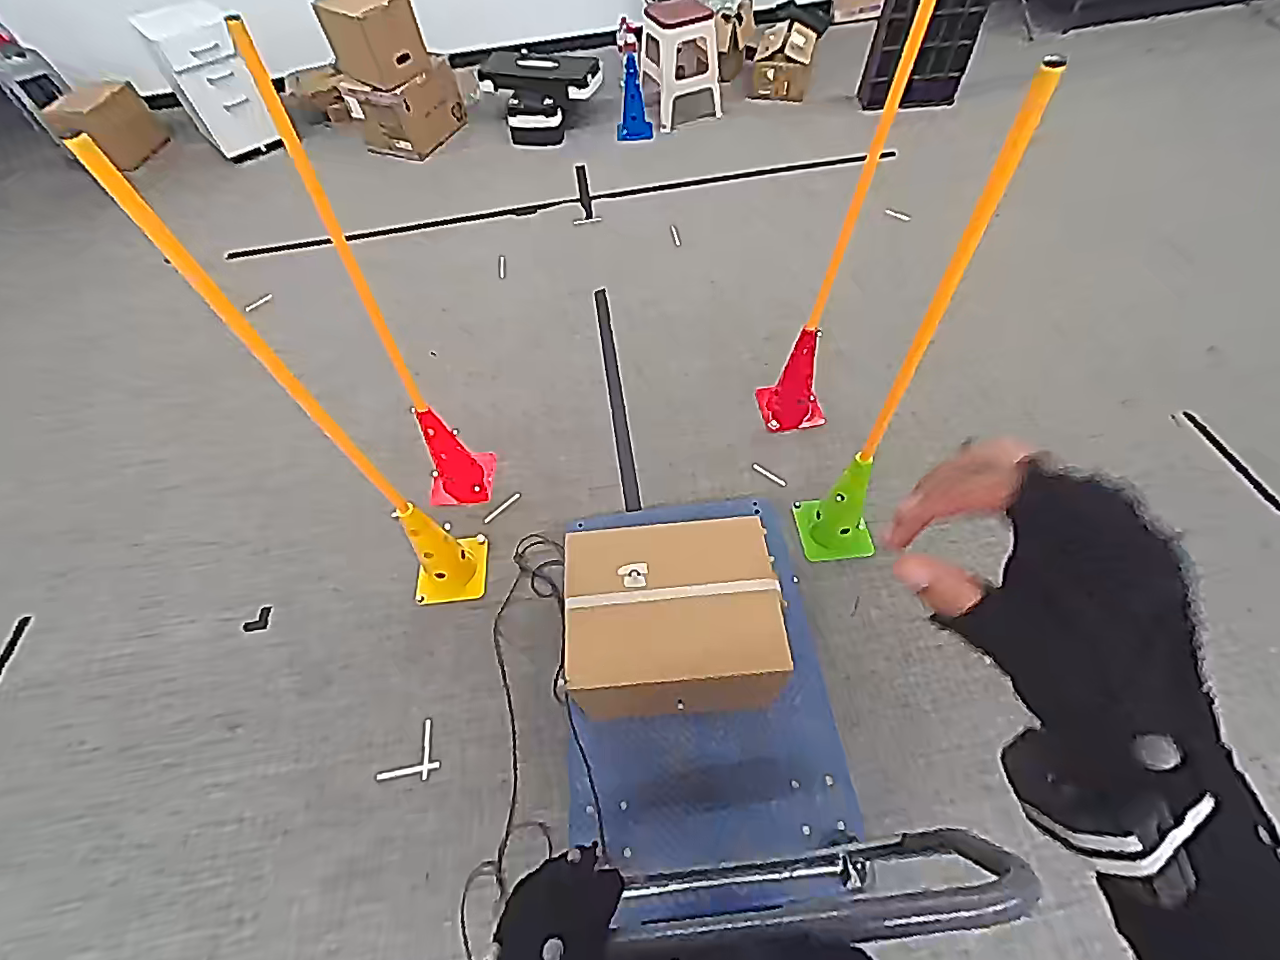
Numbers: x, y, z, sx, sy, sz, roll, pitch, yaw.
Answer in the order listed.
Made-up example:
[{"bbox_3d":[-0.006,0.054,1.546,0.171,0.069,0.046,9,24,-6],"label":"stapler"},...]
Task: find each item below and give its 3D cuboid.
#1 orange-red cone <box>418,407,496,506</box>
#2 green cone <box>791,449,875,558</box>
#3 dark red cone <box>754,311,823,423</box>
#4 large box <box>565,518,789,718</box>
[{"bbox_3d":[-0.596,-0.094,1.660,0.198,0.360,0.199,-3,55,2],"label":"orange-red cone"},{"bbox_3d":[0.559,0.042,1.469,0.202,0.368,0.200,-6,56,-1],"label":"green cone"},{"bbox_3d":[0.502,-0.367,1.725,0.201,0.394,0.202,-9,56,-3],"label":"dark red cone"},{"bbox_3d":[0.067,0.308,1.160,0.408,0.320,0.320,-6,56,2],"label":"large box"}]
